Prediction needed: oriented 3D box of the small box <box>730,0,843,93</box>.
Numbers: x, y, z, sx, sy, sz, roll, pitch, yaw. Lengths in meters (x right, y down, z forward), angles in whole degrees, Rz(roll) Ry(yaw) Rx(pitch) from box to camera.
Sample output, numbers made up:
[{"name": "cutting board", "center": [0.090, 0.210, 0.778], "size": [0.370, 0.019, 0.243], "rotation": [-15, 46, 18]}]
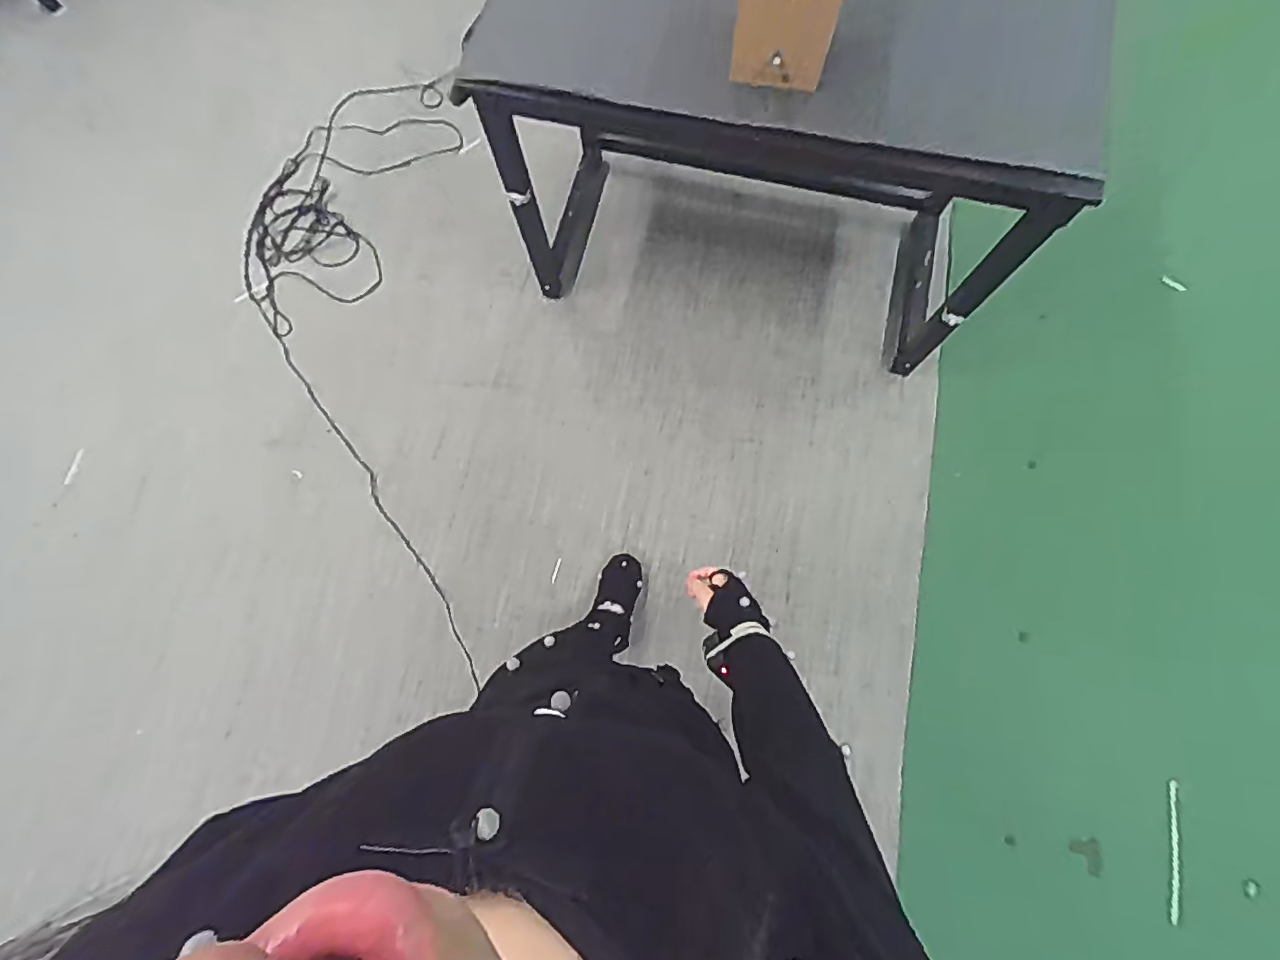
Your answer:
[{"name": "small box", "center": [0.260, -0.838, 0.959], "size": [0.168, 0.176, 0.179], "rotation": [10, 75, 4]}]
